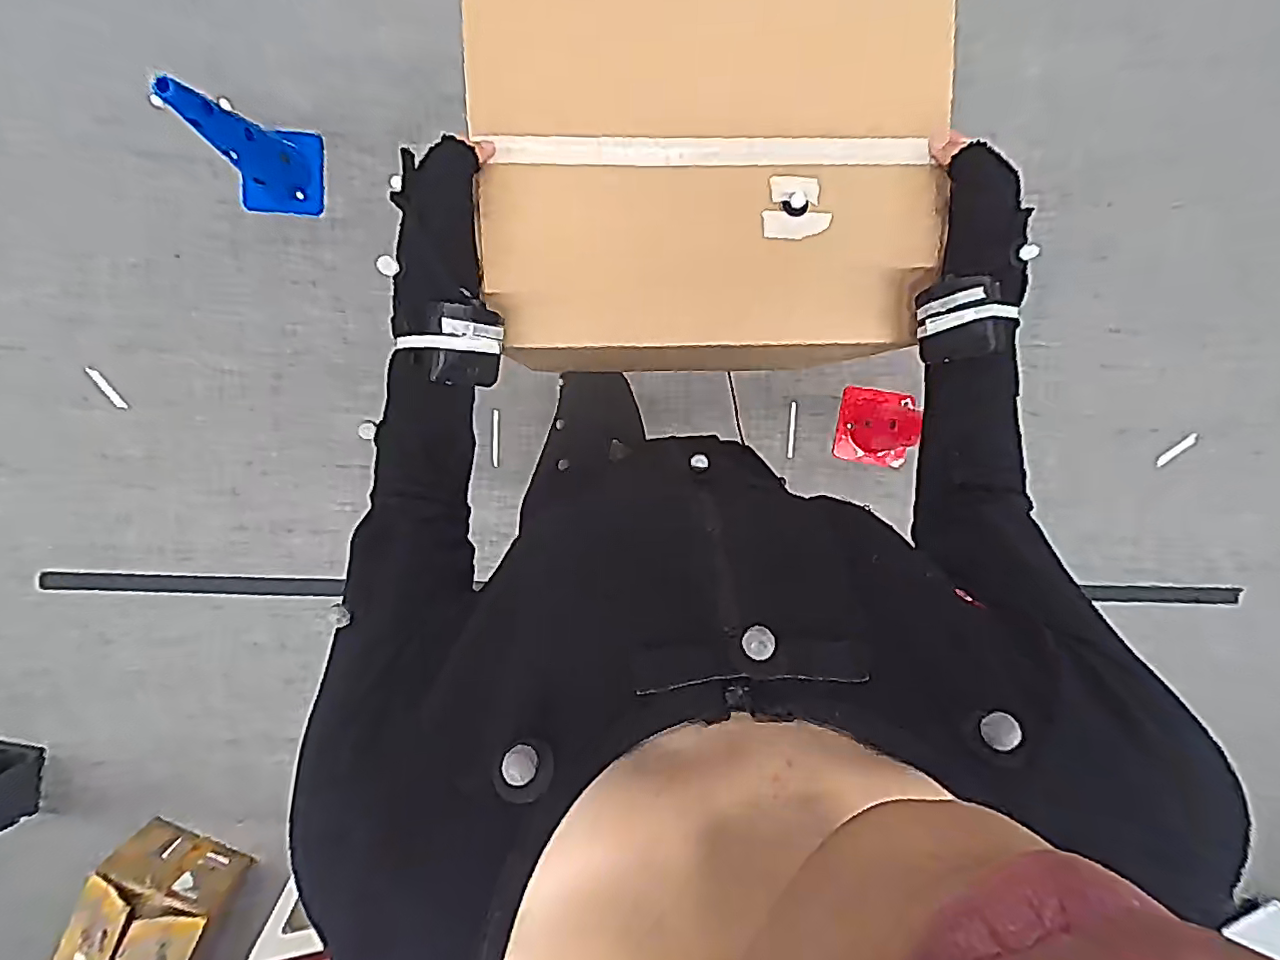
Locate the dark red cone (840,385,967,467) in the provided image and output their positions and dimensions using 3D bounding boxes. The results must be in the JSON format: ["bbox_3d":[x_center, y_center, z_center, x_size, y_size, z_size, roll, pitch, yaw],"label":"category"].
[{"bbox_3d":[0.640,-0.123,1.275,0.201,0.394,0.202,8,96,-1],"label":"dark red cone"}]

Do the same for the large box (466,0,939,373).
[{"bbox_3d":[0.049,-0.295,0.608,0.408,0.320,0.320,-2,97,-4],"label":"large box"}]

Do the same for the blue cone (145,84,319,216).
[{"bbox_3d":[-0.907,-0.749,1.203,0.192,0.380,0.193,5,96,-1],"label":"blue cone"}]
